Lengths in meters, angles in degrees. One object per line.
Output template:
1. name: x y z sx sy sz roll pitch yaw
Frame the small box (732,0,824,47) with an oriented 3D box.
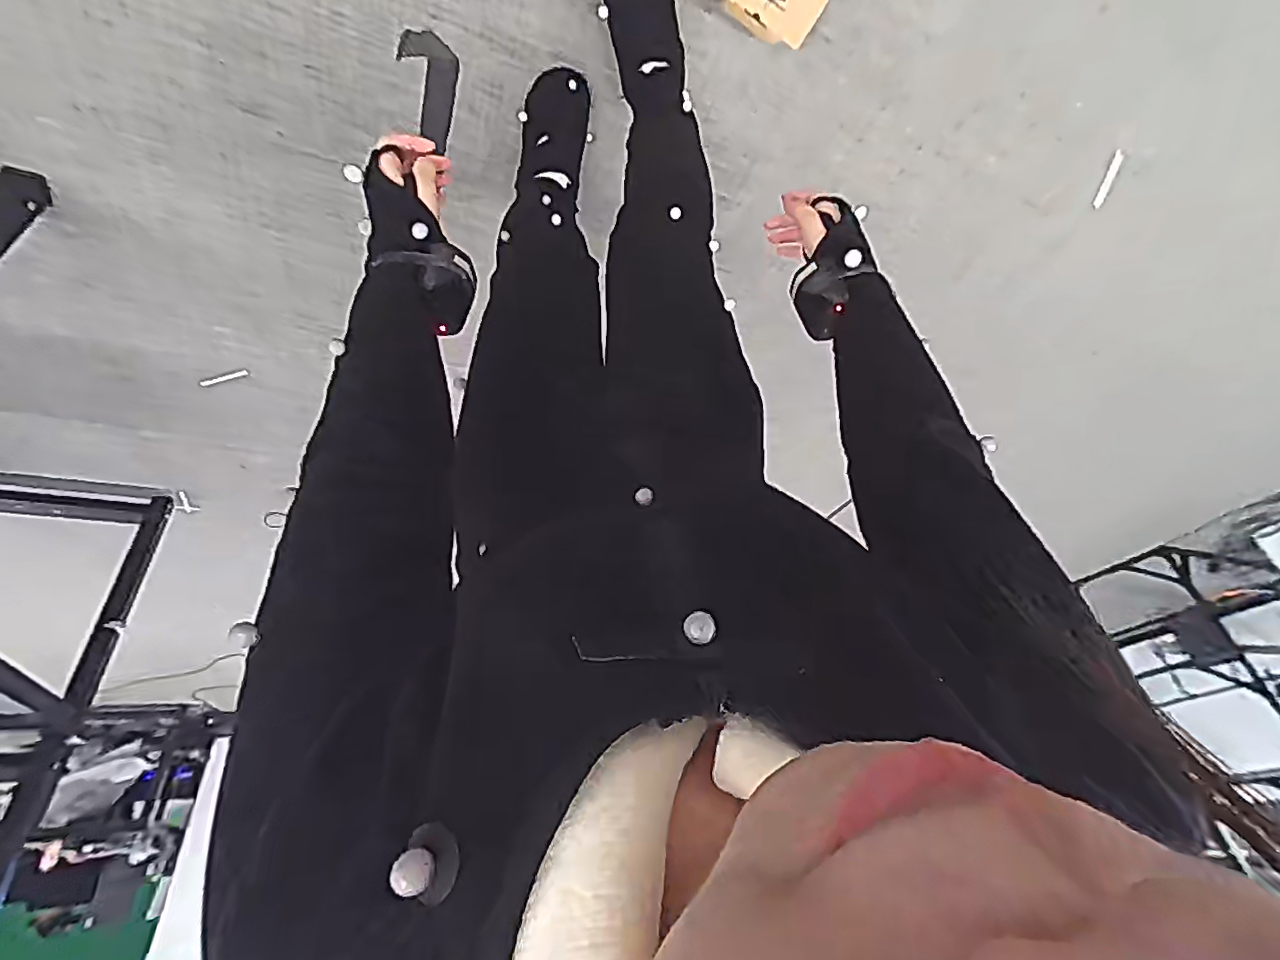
1. small box: 0.193 -0.772 0.753 0.168 0.176 0.179 12 141 -29
